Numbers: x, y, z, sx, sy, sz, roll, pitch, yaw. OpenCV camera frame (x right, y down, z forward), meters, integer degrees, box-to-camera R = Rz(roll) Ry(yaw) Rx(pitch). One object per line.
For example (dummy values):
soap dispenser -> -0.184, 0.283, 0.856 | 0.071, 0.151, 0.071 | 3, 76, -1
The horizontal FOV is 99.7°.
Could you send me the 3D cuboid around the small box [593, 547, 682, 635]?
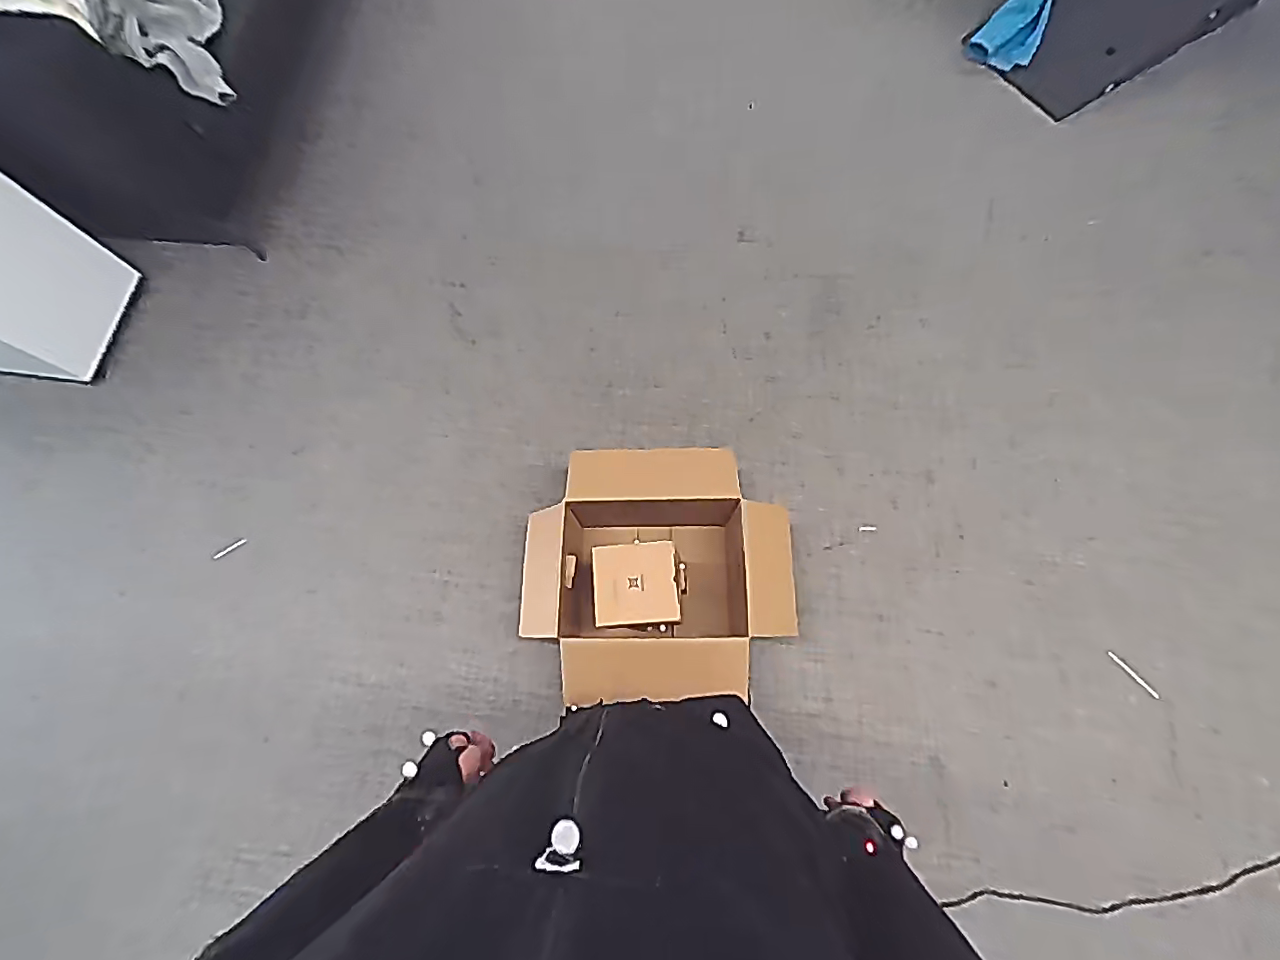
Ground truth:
small box -> 0.000, 0.248, 1.188 | 0.179, 0.176, 0.168 | -6, 70, 6
